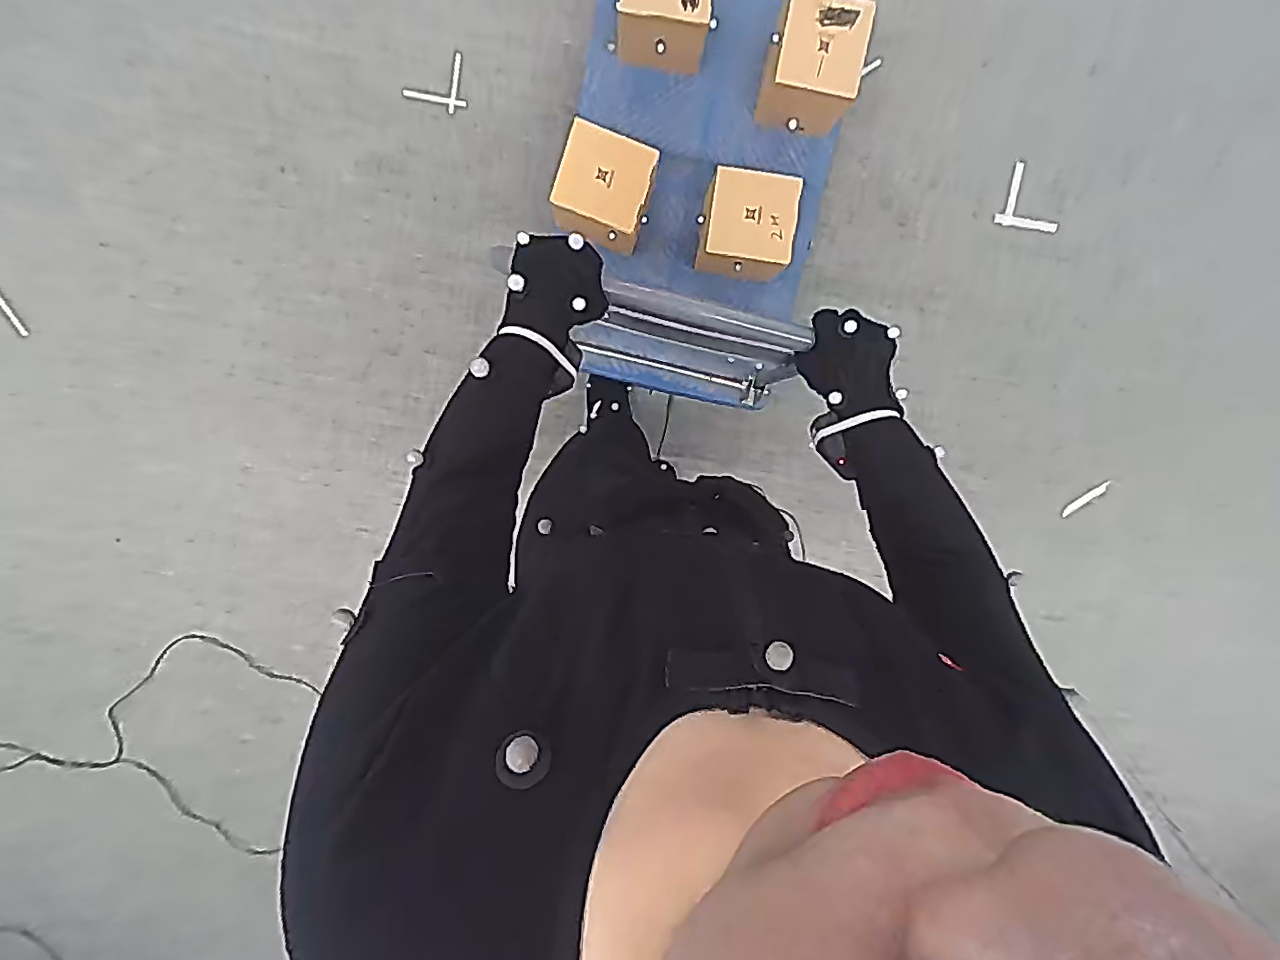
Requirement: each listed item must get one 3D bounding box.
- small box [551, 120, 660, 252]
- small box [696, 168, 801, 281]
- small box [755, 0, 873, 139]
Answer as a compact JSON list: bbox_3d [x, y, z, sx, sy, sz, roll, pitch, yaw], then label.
[{"bbox_3d":[-0.074,-0.605,1.140,0.179,0.176,0.168,19,96,-6],"label":"small box"},{"bbox_3d":[0.223,-0.539,1.162,0.179,0.176,0.168,7,98,-3],"label":"small box"},{"bbox_3d":[0.350,-0.851,1.122,0.168,0.176,0.179,10,99,-4],"label":"small box"}]
